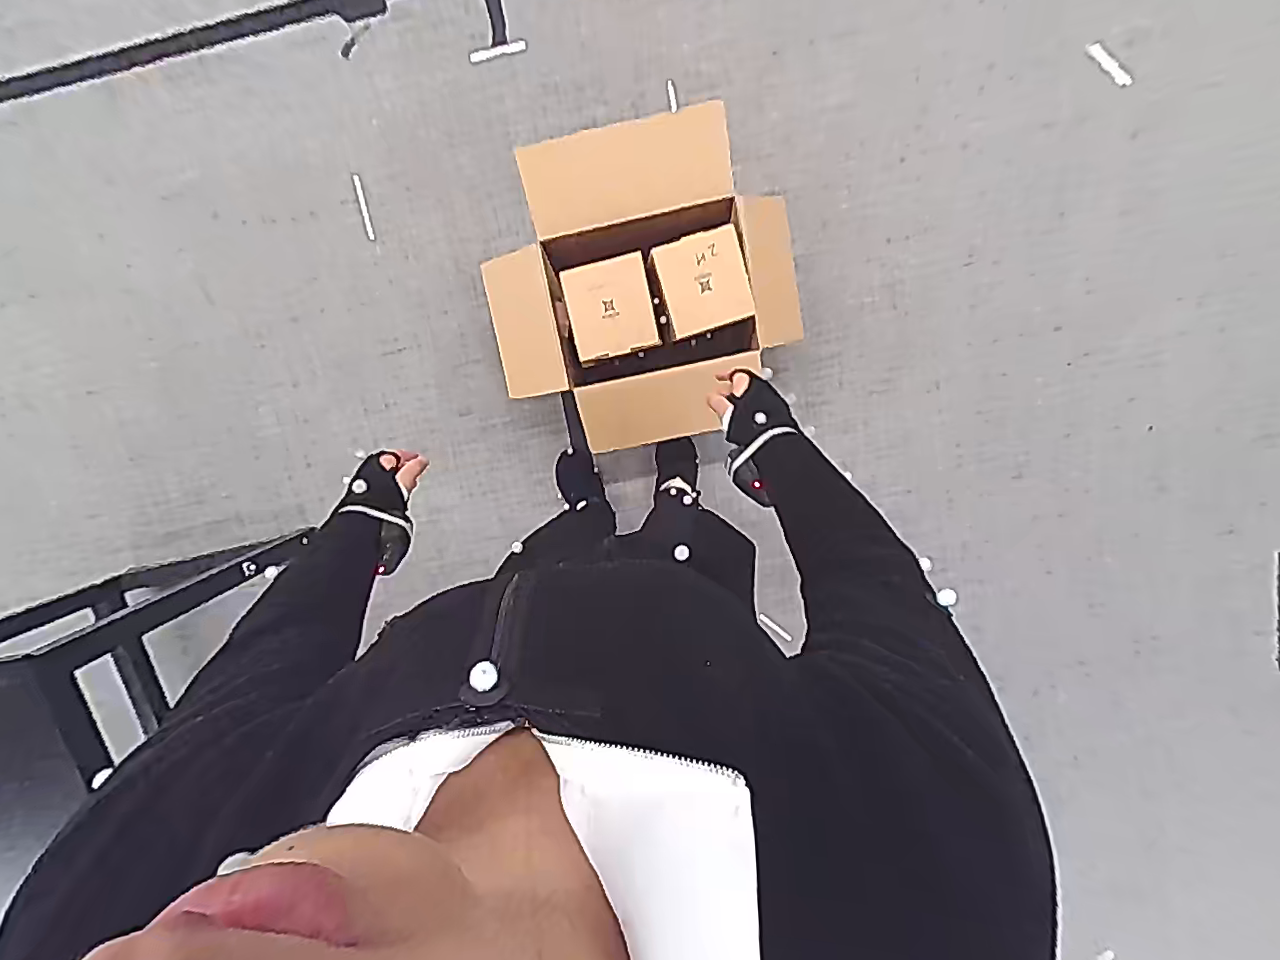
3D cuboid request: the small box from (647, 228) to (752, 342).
[{"bbox_3d":[0.118,-0.391,1.122,0.168,0.176,0.179,-17,101,1],"label":"small box"}]
